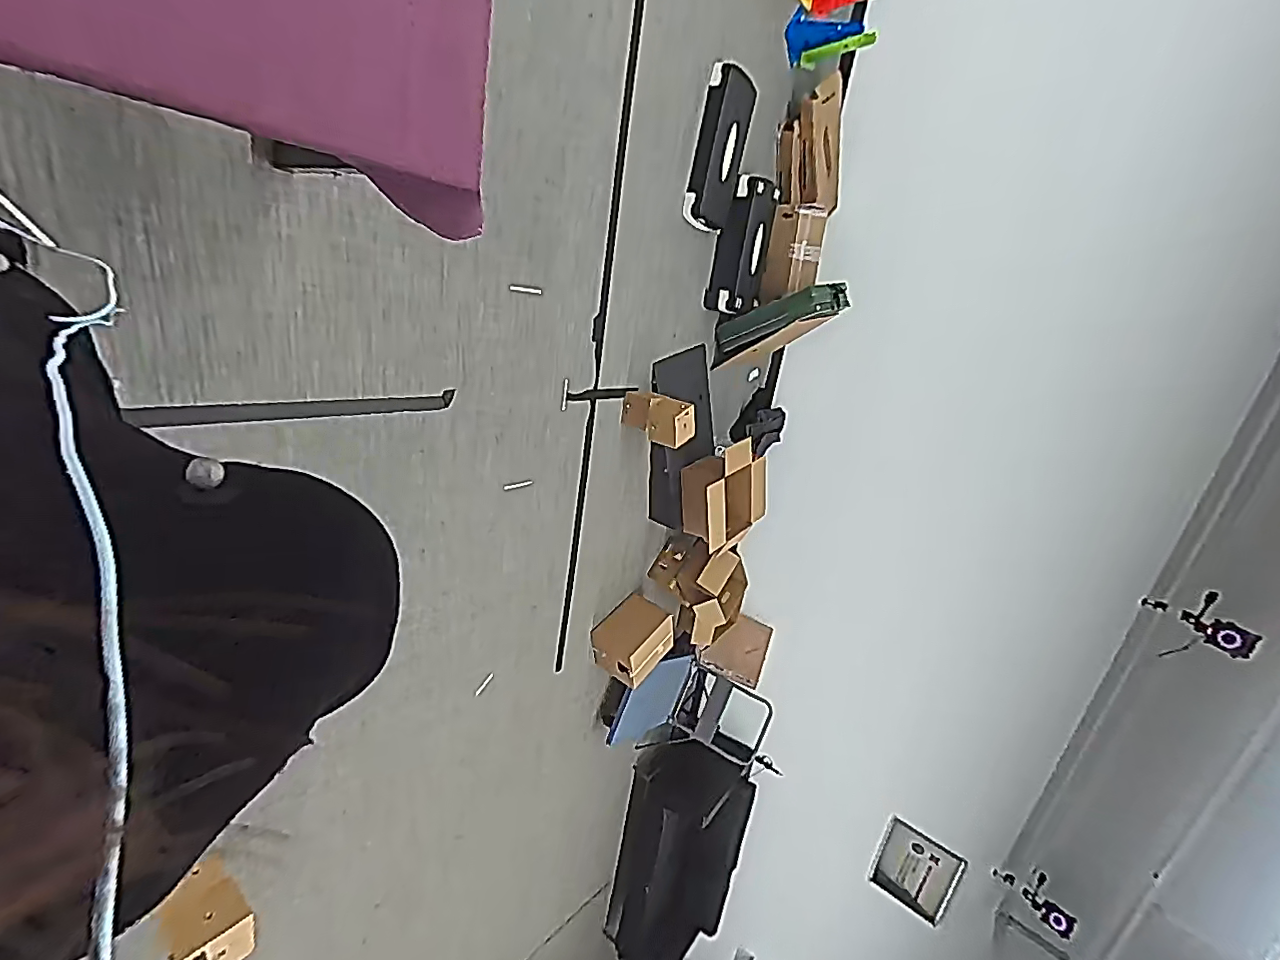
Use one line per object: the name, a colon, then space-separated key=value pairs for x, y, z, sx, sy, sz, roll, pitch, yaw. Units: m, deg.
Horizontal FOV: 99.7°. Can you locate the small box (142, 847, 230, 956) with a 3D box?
small box: x=-1.390 y=1.275 z=1.657 sx=0.168 sy=0.176 sz=0.179 roll=-15 pitch=121 yaw=-53
